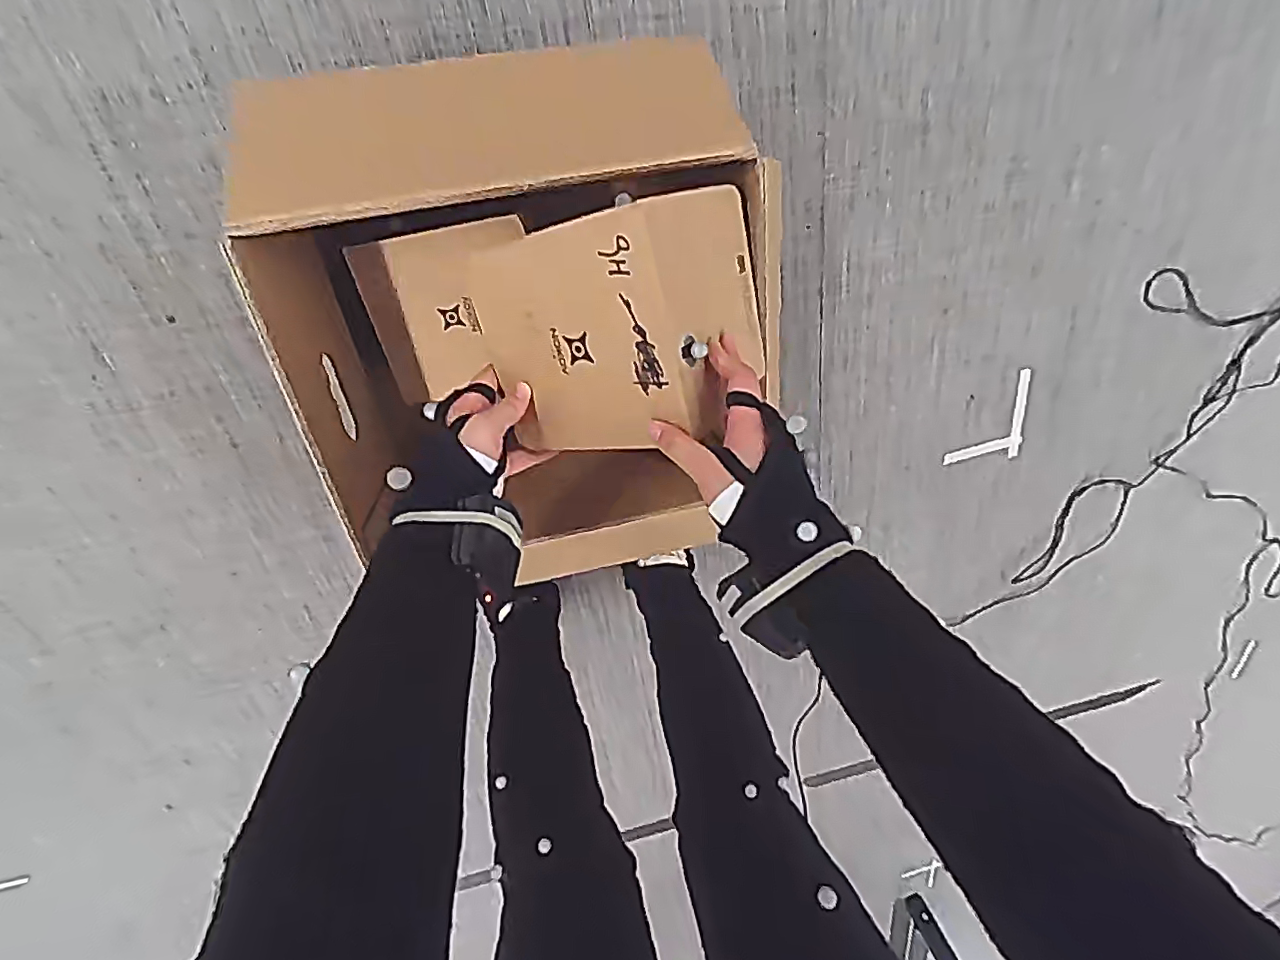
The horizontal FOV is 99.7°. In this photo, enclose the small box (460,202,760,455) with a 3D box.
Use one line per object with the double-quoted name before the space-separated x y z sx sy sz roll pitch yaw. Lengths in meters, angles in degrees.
"small box" -0.014 -0.131 0.470 0.179 0.176 0.168 2 118 33
